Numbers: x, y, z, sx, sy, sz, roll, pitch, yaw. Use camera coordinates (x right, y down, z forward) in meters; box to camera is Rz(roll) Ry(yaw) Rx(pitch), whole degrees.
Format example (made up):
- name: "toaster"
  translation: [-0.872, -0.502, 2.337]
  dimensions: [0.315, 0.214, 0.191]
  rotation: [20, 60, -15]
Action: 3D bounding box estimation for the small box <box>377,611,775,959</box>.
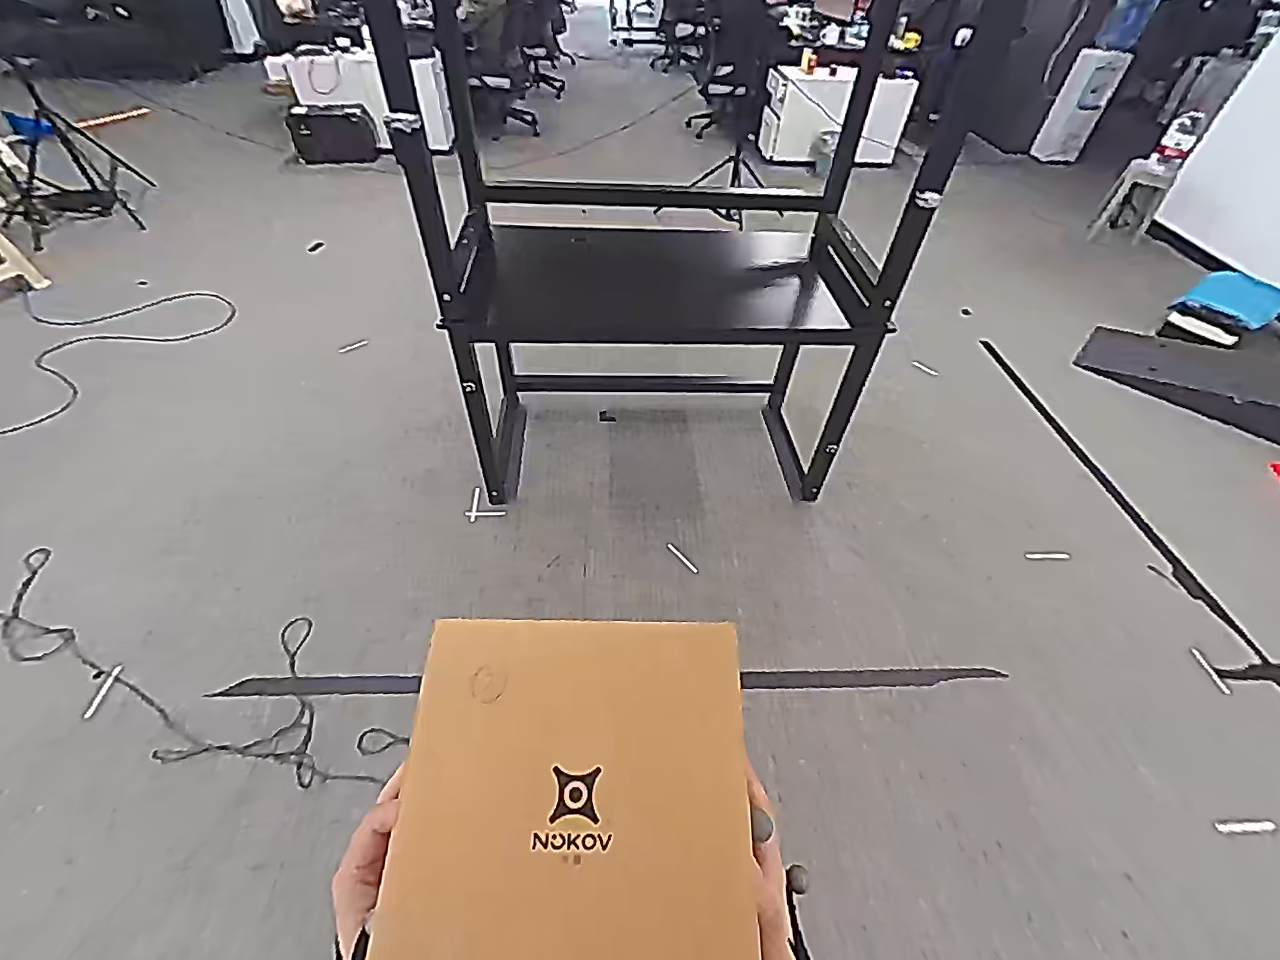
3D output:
- name: "small box"
  translation: [-0.026, 0.187, 0.318]
  dimensions: [0.168, 0.176, 0.179]
  rotation: [1, 61, 0]
